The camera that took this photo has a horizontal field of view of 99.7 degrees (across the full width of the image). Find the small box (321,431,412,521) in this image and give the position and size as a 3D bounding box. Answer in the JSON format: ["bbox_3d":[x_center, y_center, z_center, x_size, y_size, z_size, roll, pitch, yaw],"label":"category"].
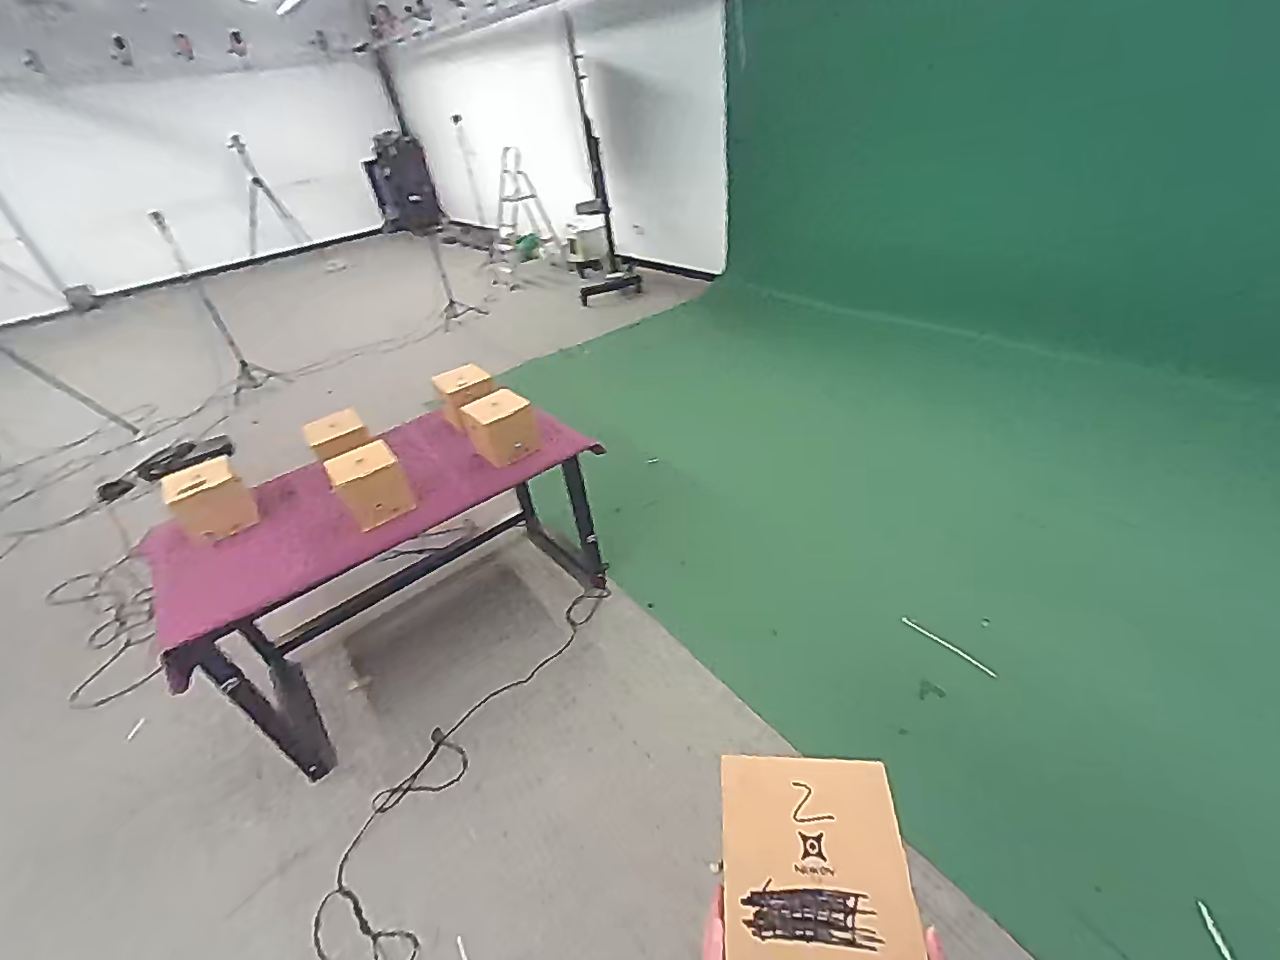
[{"bbox_3d":[-0.784,-0.012,1.555,0.168,0.176,0.179,-29,42,-26],"label":"small box"}]

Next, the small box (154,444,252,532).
[{"bbox_3d":[-1.266,0.028,1.573,0.168,0.176,0.179,-29,43,-27],"label":"small box"}]

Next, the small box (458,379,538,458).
[{"bbox_3d":[-0.452,-0.197,1.734,0.168,0.176,0.179,-32,44,-26],"label":"small box"}]

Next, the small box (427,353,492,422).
[{"bbox_3d":[-0.634,-0.331,1.939,0.168,0.176,0.179,-30,43,-26],"label":"small box"}]

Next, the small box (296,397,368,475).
[{"bbox_3d":[-0.980,-0.141,1.753,0.168,0.176,0.179,-28,44,-25],"label":"small box"}]
